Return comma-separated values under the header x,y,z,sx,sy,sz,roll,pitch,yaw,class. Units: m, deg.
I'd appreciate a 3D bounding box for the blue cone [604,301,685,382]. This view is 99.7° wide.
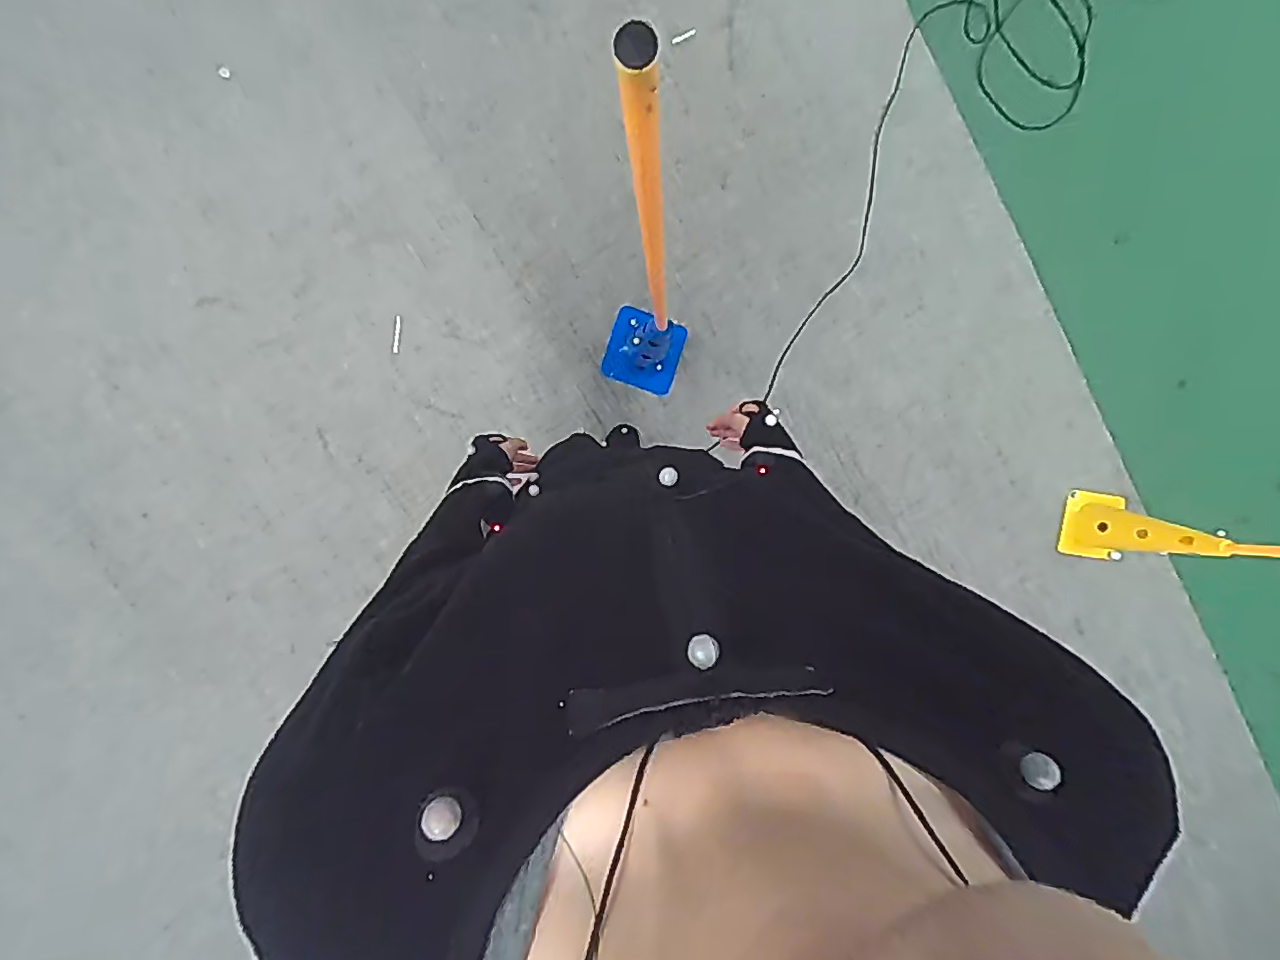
x,y,z,sx,sy,sz,roll,pitch,yaw,class
0.025,-0.352,1.283,0.193,0.380,0.192,17,94,-6,blue cone
